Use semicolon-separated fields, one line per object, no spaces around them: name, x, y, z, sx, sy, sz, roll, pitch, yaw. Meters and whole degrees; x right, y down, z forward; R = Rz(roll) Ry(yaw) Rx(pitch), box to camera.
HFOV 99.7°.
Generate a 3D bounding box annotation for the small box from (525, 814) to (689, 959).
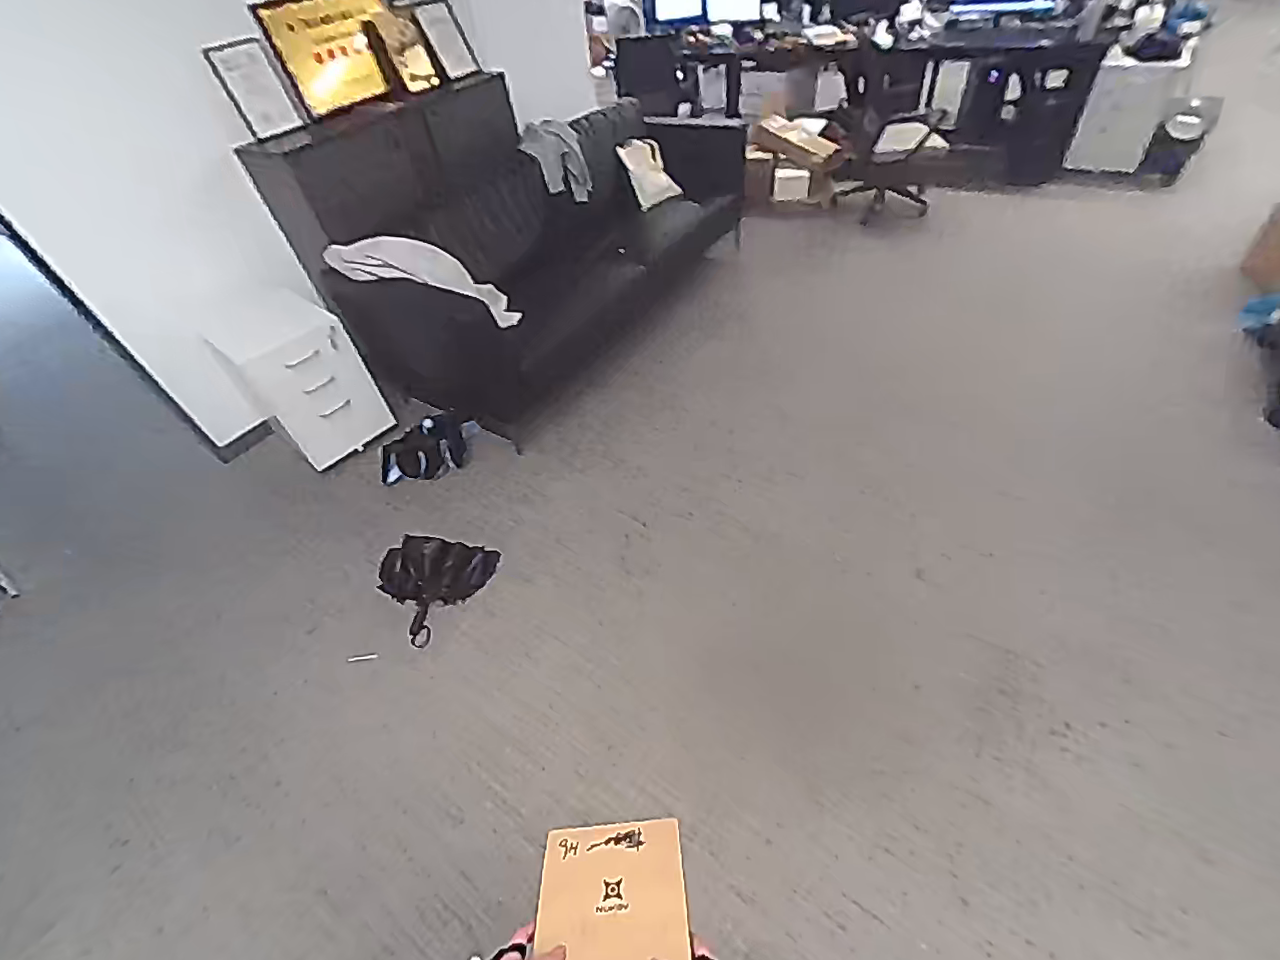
small box;-0.030;0.534;0.630;0.168;0.176;0.179;-6;22;0
